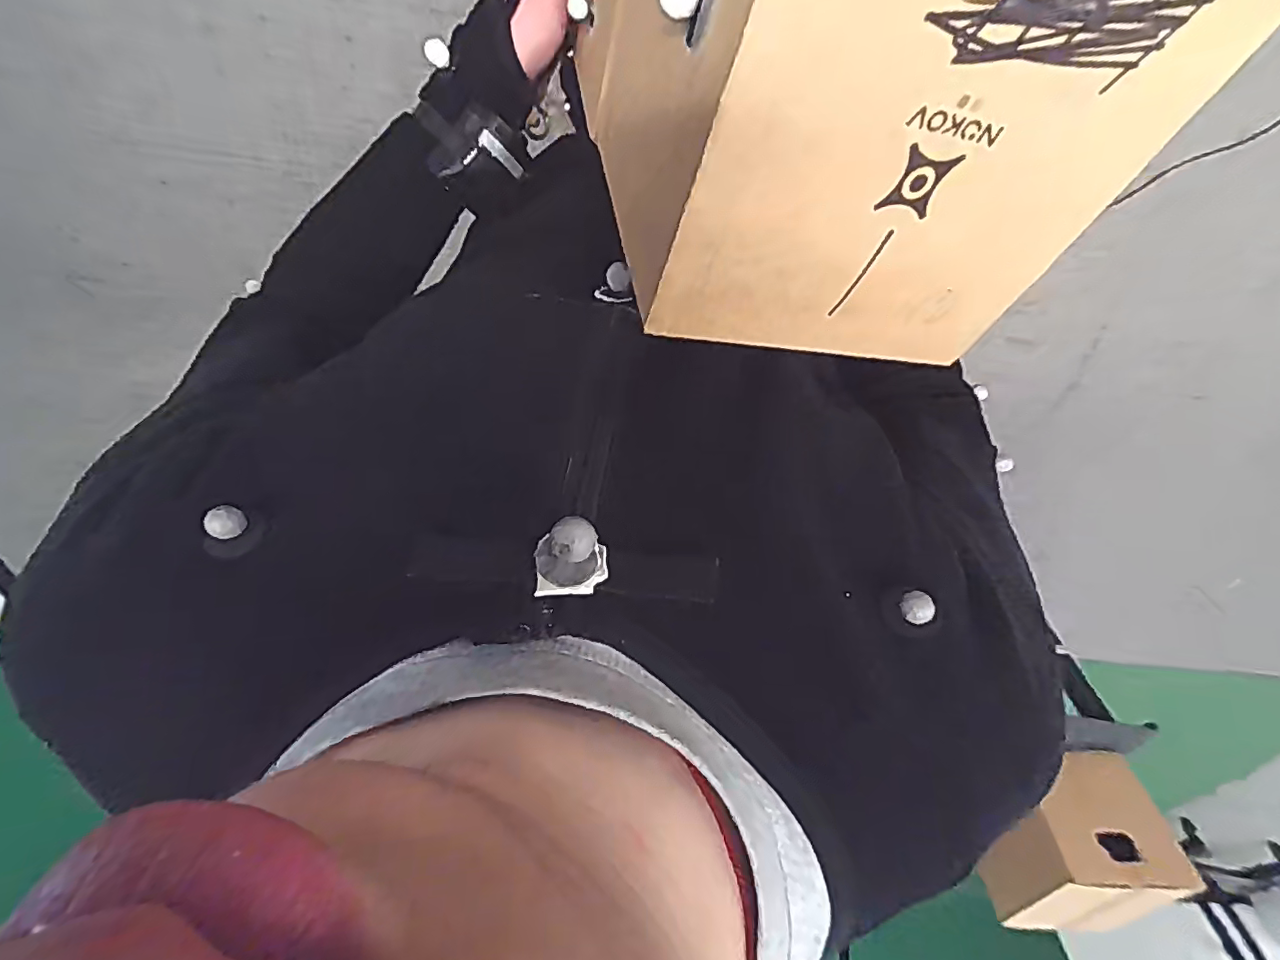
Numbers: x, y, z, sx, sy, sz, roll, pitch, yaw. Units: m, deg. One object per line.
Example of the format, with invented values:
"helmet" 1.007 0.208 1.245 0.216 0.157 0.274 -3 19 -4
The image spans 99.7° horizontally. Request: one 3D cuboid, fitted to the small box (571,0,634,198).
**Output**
"small box" 0.055 -0.280 0.315 0.168 0.176 0.179 0 144 -16
